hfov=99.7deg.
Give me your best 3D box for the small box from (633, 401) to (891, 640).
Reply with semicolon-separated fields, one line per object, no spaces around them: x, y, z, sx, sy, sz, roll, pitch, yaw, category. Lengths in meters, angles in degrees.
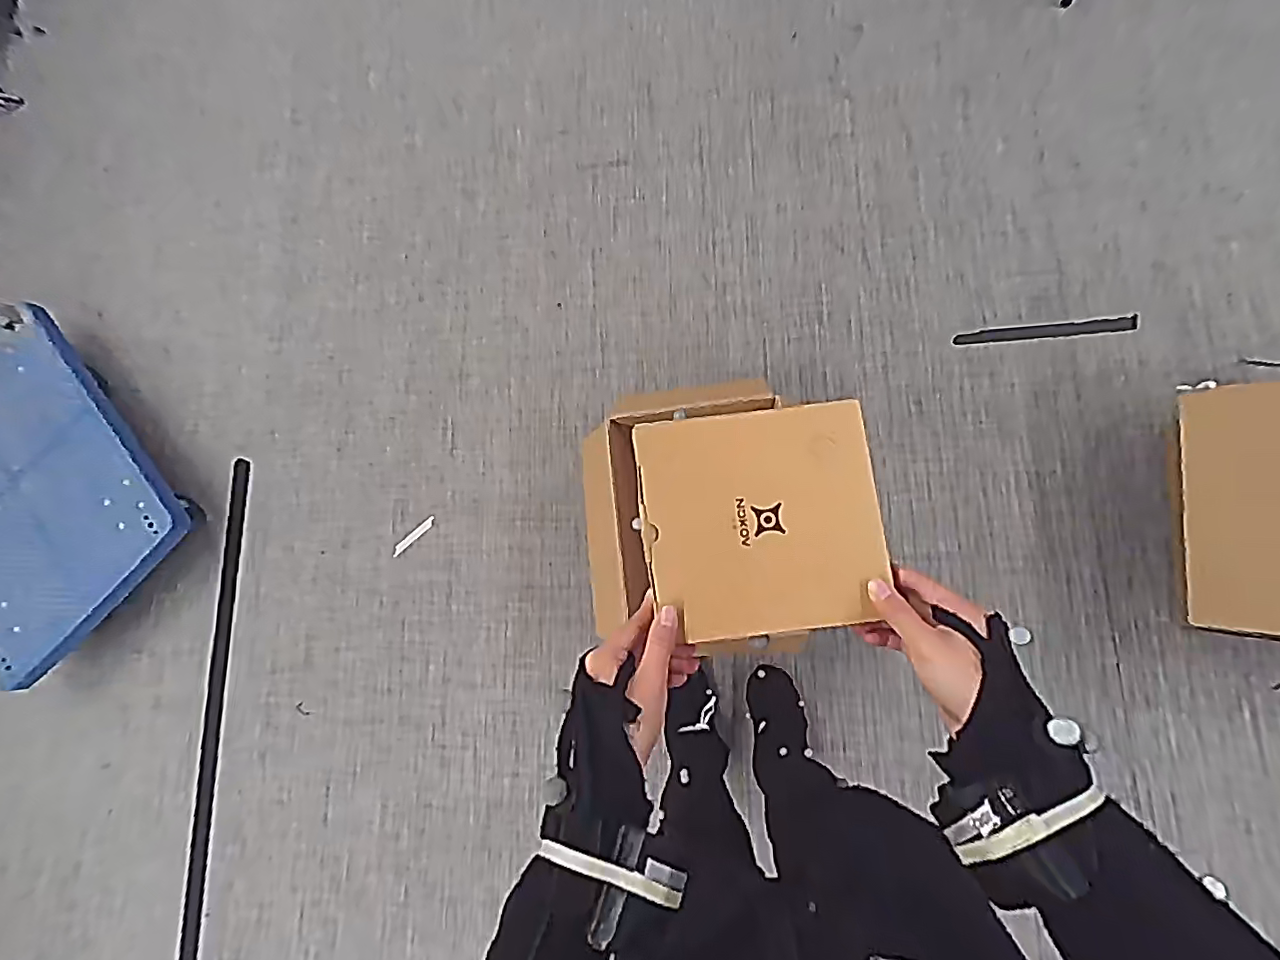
0.091;0.038;0.483;0.179;0.176;0.168;-7;82;2;small box
